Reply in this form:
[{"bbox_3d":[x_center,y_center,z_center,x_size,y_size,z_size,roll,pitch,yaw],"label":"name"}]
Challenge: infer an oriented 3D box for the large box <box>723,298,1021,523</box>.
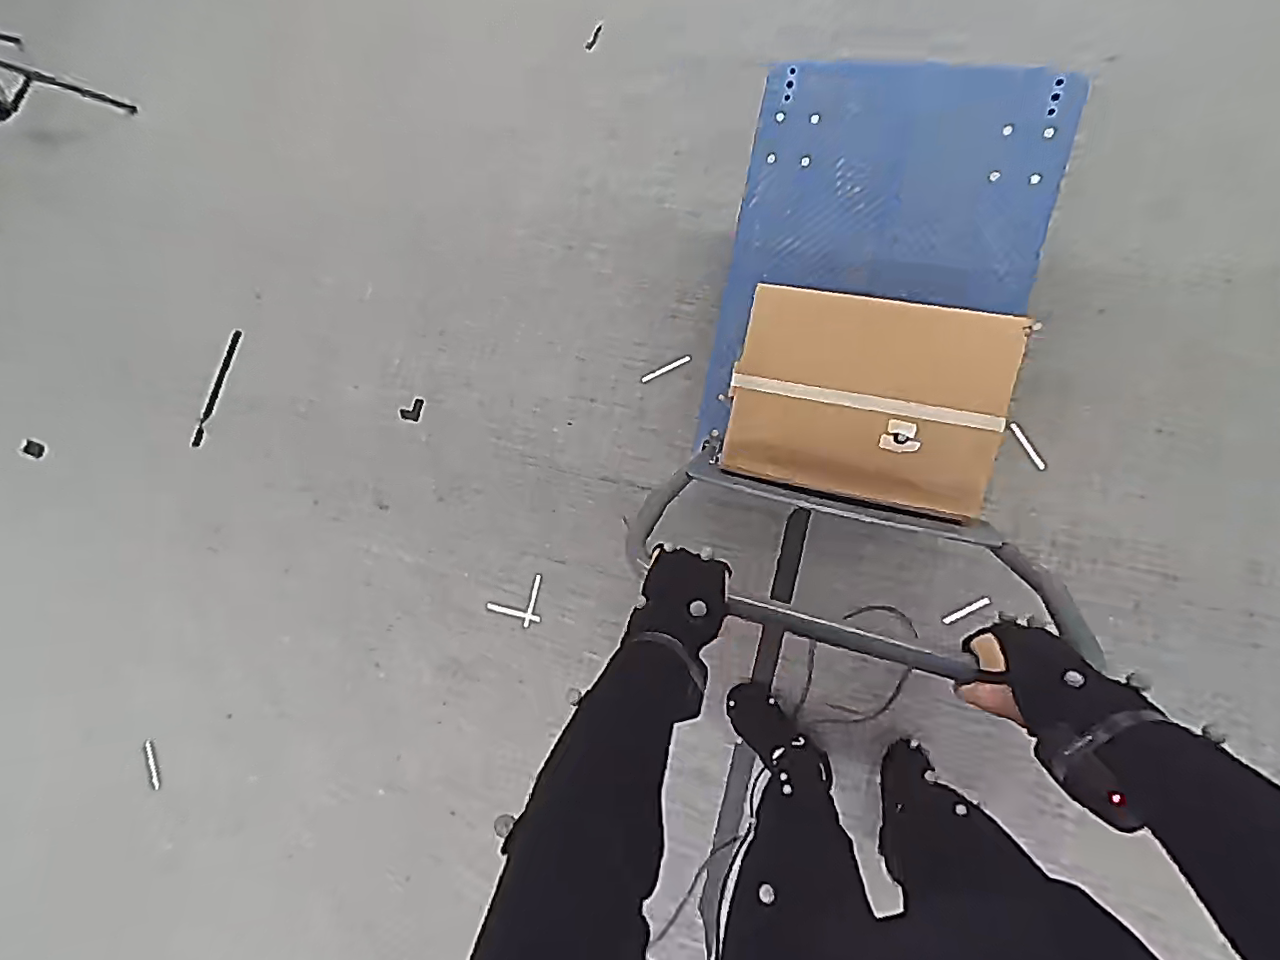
[{"bbox_3d":[0.392,-0.132,1.017,0.408,0.320,0.320,13,100,13],"label":"large box"}]
